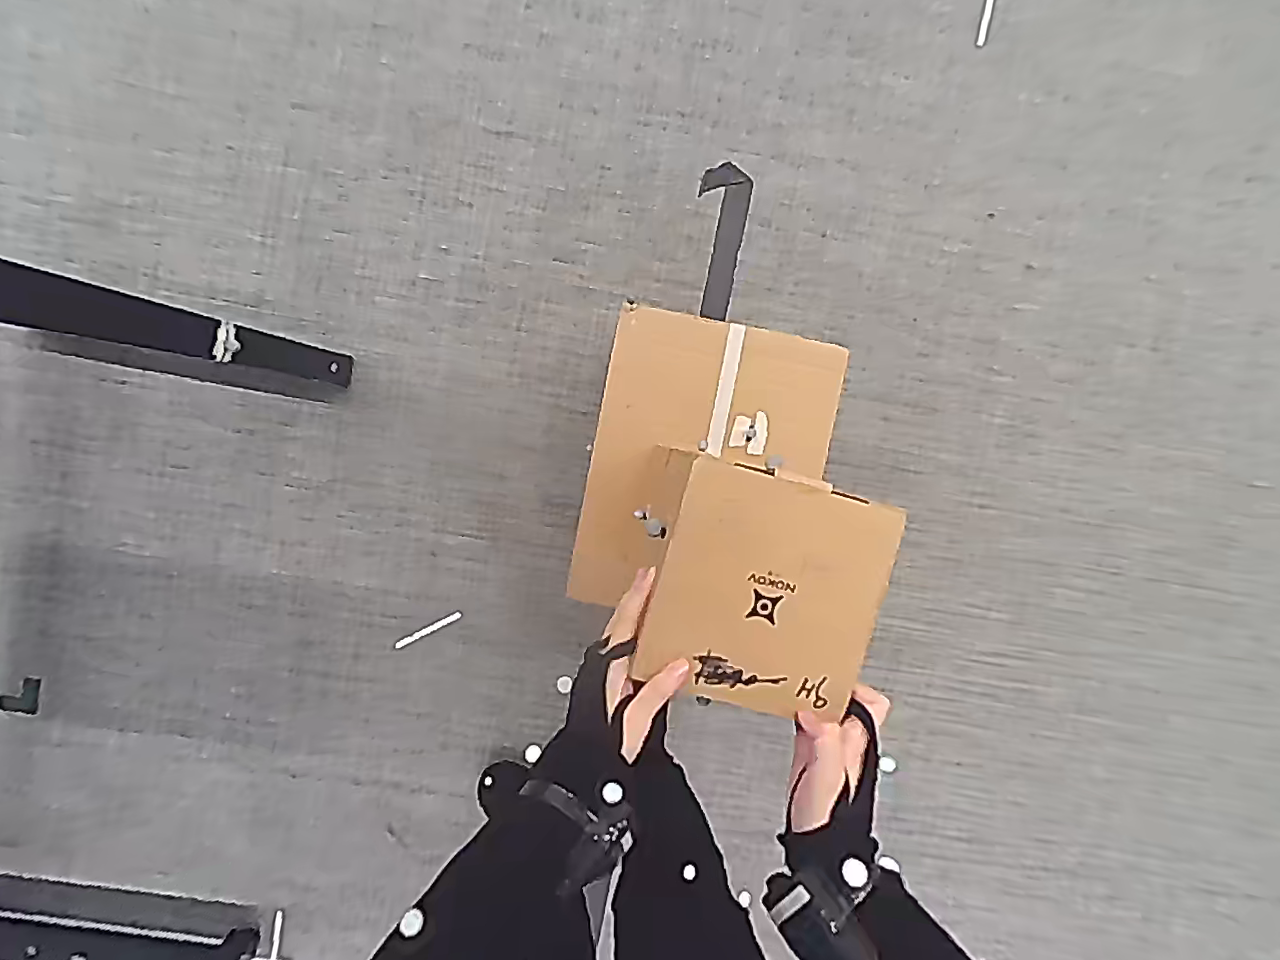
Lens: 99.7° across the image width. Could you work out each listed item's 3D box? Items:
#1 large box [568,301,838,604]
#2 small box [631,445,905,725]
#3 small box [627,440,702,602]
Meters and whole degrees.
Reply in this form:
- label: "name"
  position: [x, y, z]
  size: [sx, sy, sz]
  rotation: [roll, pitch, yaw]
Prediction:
- label: "large box"
  position: [0.078, -0.023, 0.875]
  size: [0.320, 0.320, 0.408]
  rotation: [10, 93, -4]
- label: "small box"
  position: [0.091, 0.073, 0.474]
  size: [0.168, 0.176, 0.179]
  rotation: [16, 93, -3]
- label: "small box"
  position: [0.082, 0.056, 0.636]
  size: [0.168, 0.176, 0.179]
  rotation: [15, 94, -3]
